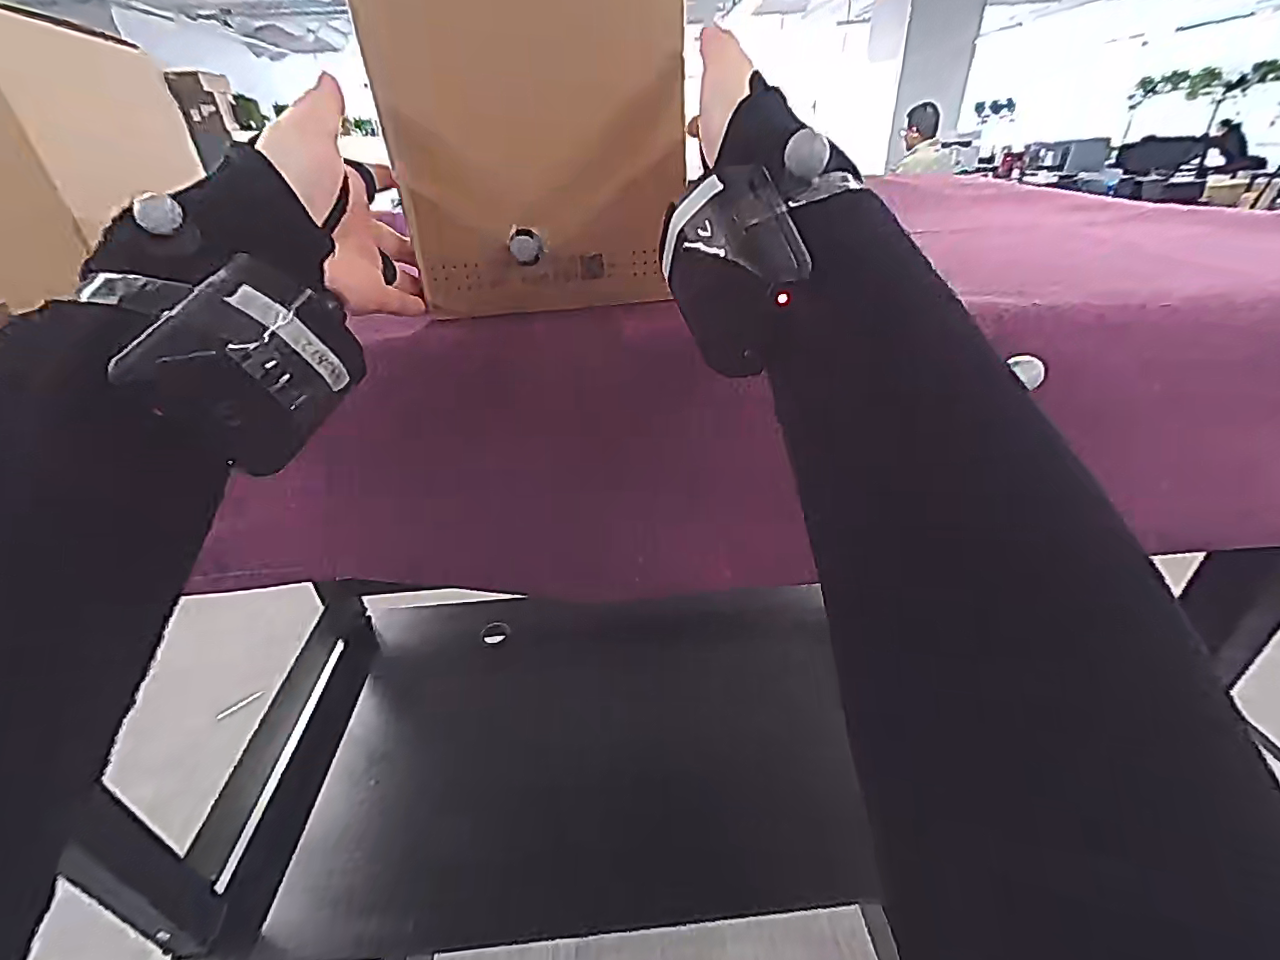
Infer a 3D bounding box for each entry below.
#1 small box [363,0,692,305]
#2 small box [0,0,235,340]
[{"bbox_3d":[-0.063,-0.224,0.369,0.168,0.176,0.179,-7,31,-5],"label":"small box"},{"bbox_3d":[-0.407,-0.193,0.350,0.168,0.176,0.179,-9,32,-9],"label":"small box"}]
